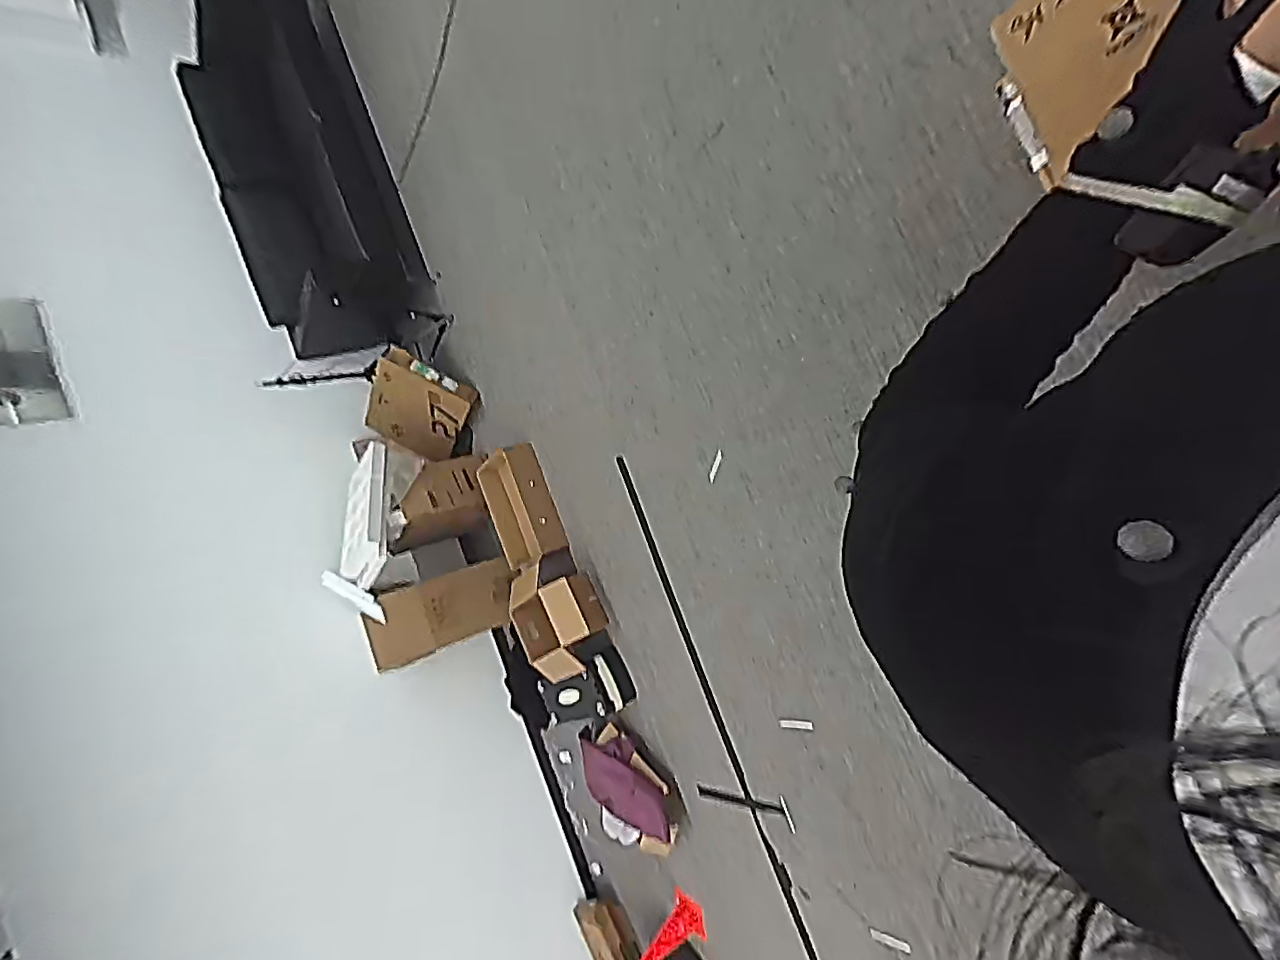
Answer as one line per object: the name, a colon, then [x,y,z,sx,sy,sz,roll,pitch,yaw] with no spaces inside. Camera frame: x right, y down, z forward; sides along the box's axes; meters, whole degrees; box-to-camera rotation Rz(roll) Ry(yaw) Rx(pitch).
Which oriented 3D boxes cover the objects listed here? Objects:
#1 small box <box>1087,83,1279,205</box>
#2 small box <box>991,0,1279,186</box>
small box: [0.611,-0.448,0.632,0.168,0.176,0.179,-30,84,51]
small box: [0.488,-0.417,0.526,0.168,0.176,0.179,-27,86,51]
